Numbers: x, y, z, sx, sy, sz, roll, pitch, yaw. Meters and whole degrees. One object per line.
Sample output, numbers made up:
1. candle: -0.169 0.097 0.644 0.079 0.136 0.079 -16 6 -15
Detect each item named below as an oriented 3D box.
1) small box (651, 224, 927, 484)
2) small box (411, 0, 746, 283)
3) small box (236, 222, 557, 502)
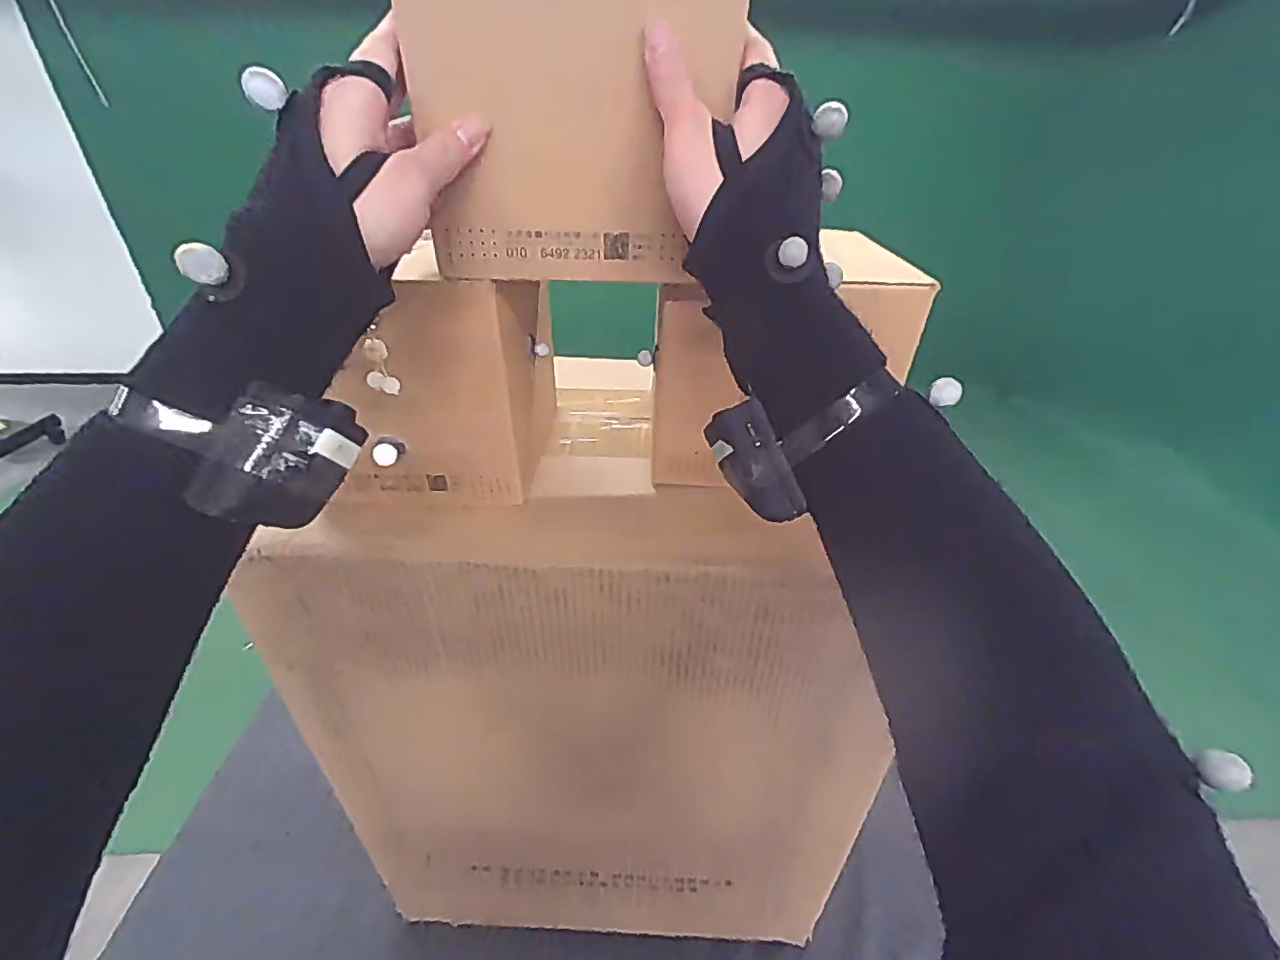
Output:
1. small box: 0.100 -0.110 0.460 0.179 0.176 0.168 3 35 -1
2. small box: -0.038 -0.237 0.350 0.168 0.176 0.179 0 35 -4
3. small box: -0.164 -0.101 0.438 0.168 0.176 0.179 1 35 1
